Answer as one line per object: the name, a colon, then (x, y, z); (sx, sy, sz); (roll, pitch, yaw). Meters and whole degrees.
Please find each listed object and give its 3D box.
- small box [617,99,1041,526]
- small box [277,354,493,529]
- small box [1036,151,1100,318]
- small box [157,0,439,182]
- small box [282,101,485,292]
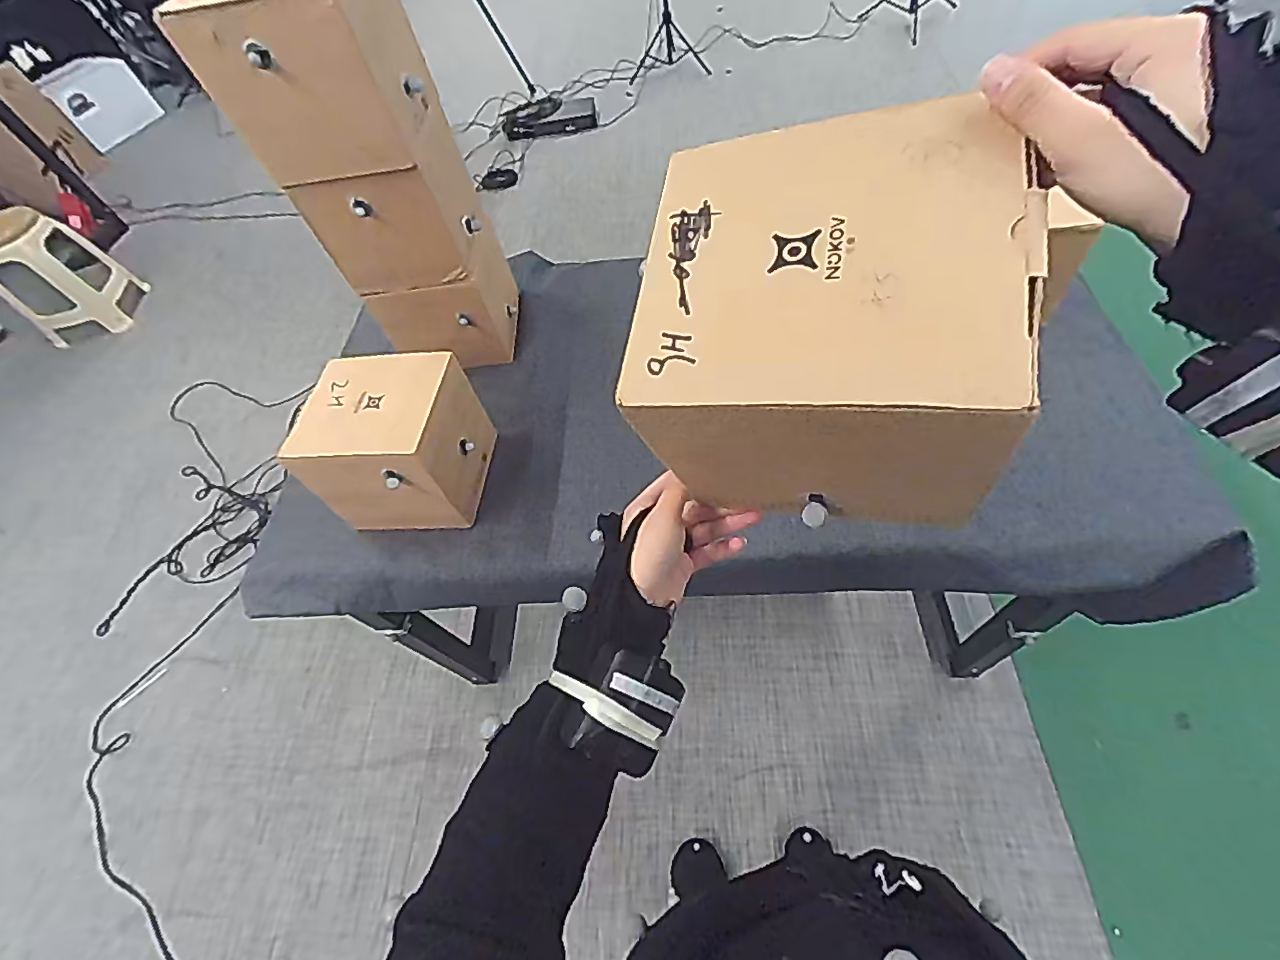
small box: (0.110, -0.076, 0.325); (0.179, 0.176, 0.168); (5, 71, 23)
small box: (-0.315, -0.045, 0.716); (0.179, 0.176, 0.168); (-2, 55, 8)
small box: (0.485, -0.328, 0.765); (0.168, 0.176, 0.179); (-1, 59, 9)
small box: (-0.353, -0.458, 0.600); (0.179, 0.176, 0.168); (-4, 59, 5)
small box: (-0.335, -0.380, 0.744); (0.179, 0.176, 0.168); (-6, 59, 4)
